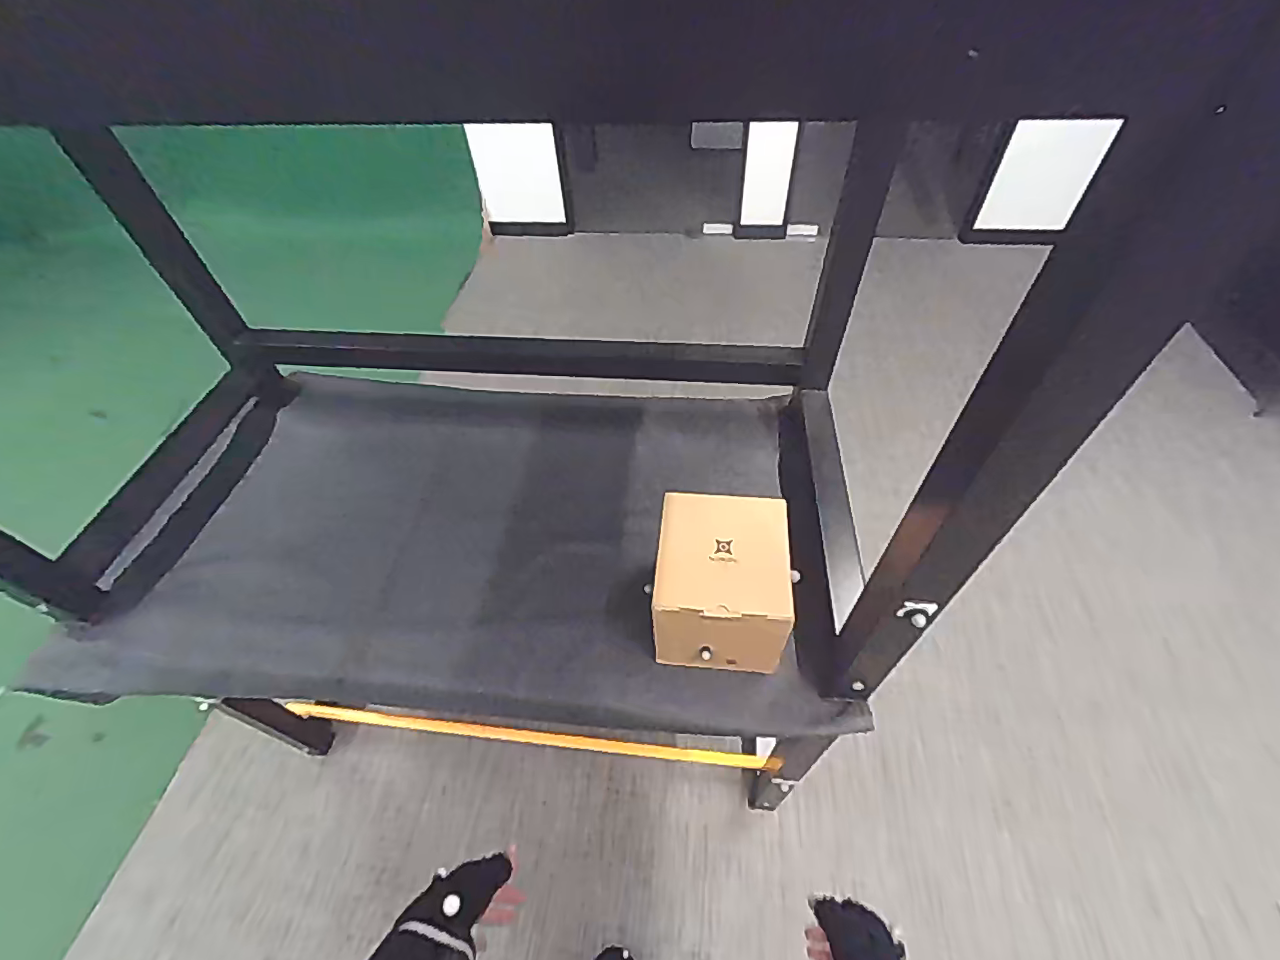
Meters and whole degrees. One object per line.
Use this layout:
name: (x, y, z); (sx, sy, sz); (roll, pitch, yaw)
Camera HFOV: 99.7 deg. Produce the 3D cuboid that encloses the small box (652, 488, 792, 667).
small box: (0.108, 0.133, 0.740); (0.168, 0.176, 0.179); (3, 50, 7)
